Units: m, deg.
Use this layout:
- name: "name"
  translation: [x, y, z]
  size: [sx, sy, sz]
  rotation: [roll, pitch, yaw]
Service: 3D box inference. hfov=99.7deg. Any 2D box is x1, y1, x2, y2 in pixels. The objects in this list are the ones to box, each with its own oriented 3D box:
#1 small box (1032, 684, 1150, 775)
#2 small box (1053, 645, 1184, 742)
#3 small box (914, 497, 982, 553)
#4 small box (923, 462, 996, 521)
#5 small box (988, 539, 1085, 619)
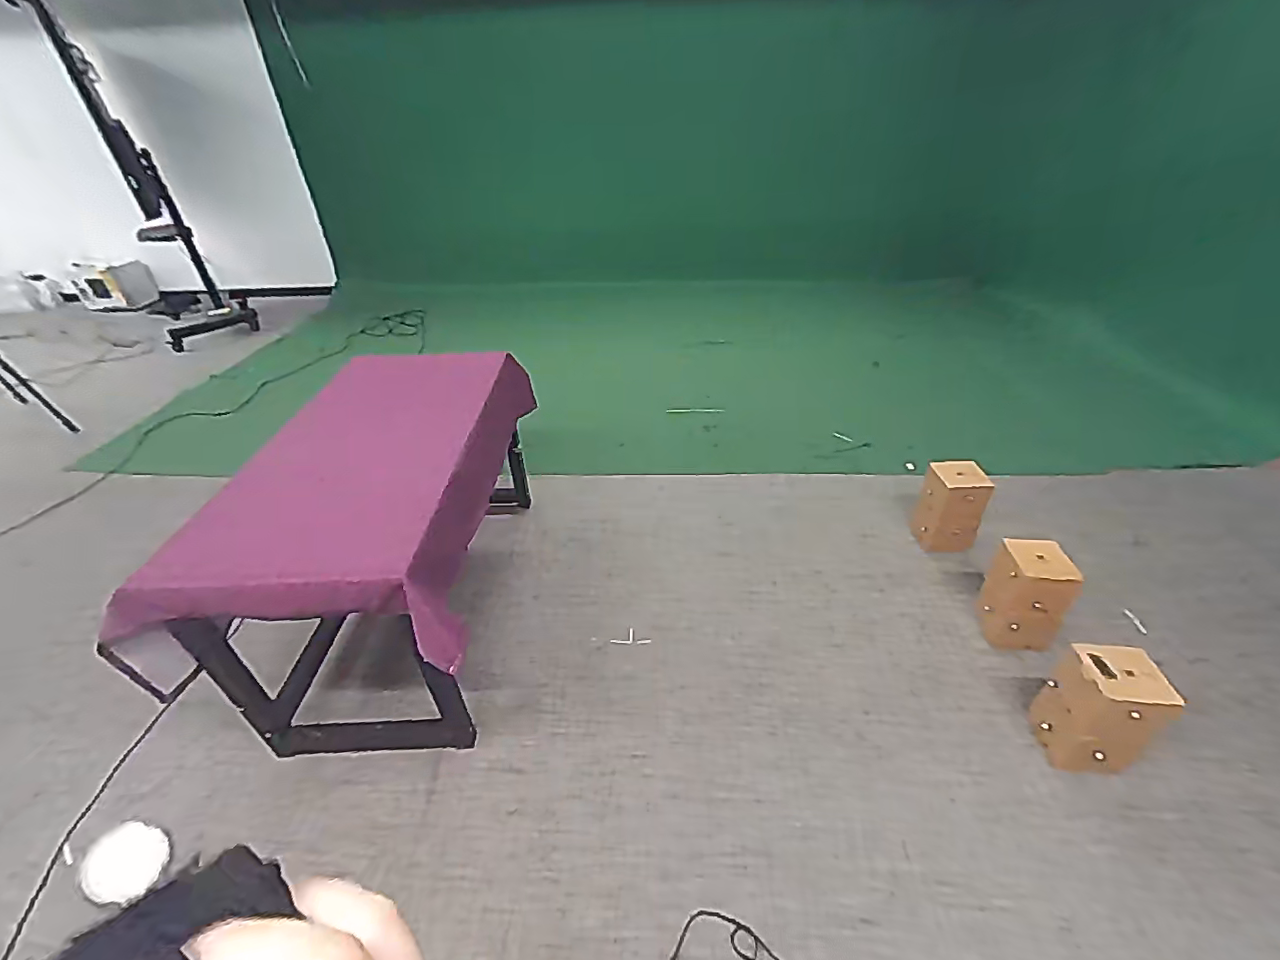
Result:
- name: "small box"
  translation: [1.216, 0.683, 1.480]
  size: [0.179, 0.176, 0.168]
  rotation: [1, 36, 6]
- name: "small box"
  translation: [1.205, 0.548, 1.385]
  size: [0.179, 0.176, 0.168]
  rotation: [3, 36, 6]
- name: "small box"
  translation: [1.226, 0.182, 2.175]
  size: [0.179, 0.176, 0.168]
  rotation: [0, 37, 2]
- name: "small box"
  translation: [1.217, 0.048, 2.080]
  size: [0.179, 0.176, 0.168]
  rotation: [-2, 37, 1]
- name: "small box"
  translation: [1.242, 0.312, 1.713]
  size: [0.168, 0.176, 0.179]
  rotation: [2, 36, 6]
